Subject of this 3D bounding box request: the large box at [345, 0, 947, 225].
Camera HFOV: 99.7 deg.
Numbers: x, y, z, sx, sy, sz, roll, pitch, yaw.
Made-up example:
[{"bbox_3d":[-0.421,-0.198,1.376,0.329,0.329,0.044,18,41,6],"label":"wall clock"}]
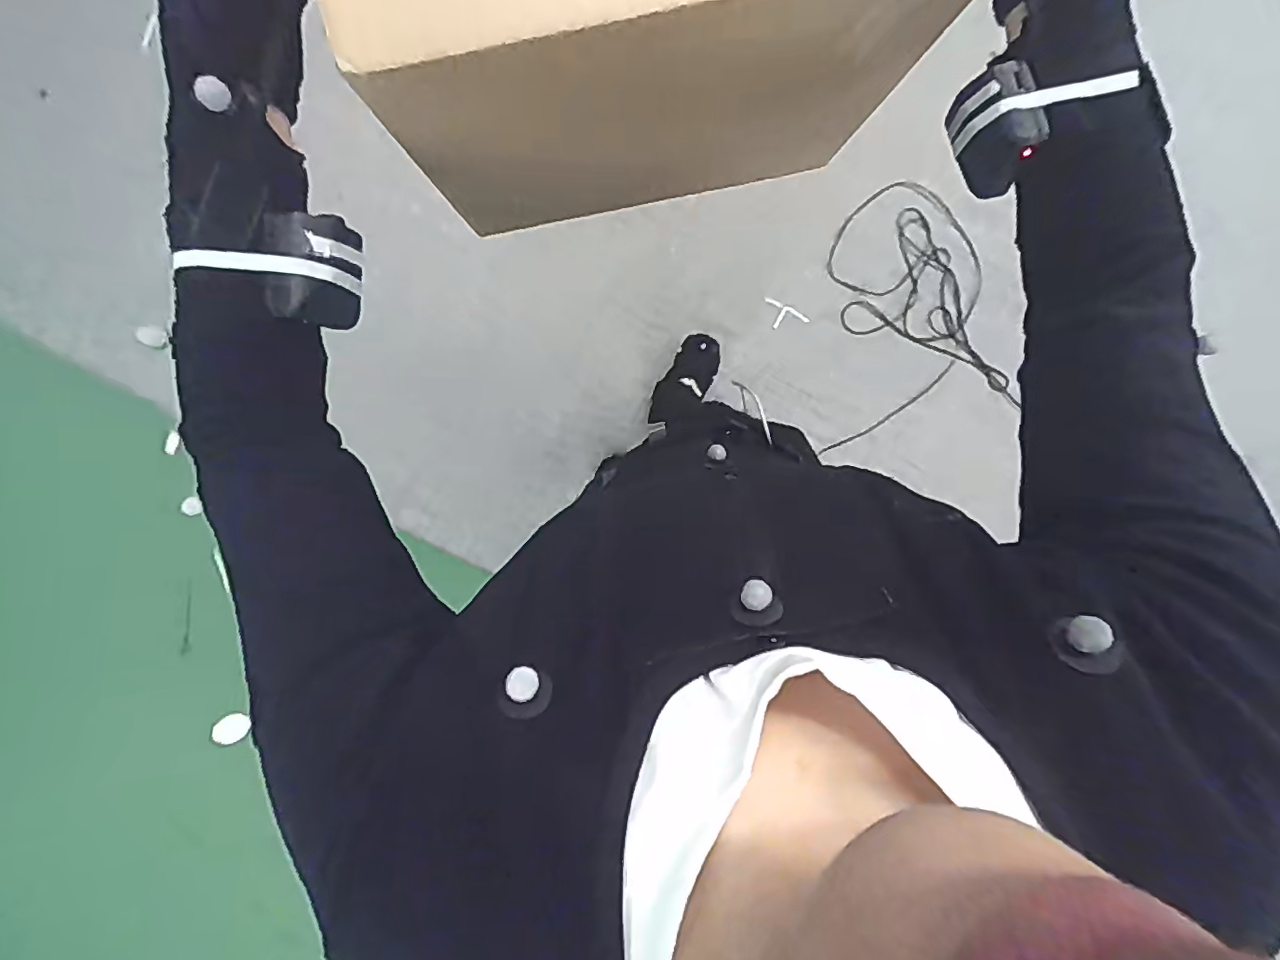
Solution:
[{"bbox_3d":[-0.008,-0.450,0.438,0.408,0.320,0.320,-12,99,-1],"label":"large box"}]
